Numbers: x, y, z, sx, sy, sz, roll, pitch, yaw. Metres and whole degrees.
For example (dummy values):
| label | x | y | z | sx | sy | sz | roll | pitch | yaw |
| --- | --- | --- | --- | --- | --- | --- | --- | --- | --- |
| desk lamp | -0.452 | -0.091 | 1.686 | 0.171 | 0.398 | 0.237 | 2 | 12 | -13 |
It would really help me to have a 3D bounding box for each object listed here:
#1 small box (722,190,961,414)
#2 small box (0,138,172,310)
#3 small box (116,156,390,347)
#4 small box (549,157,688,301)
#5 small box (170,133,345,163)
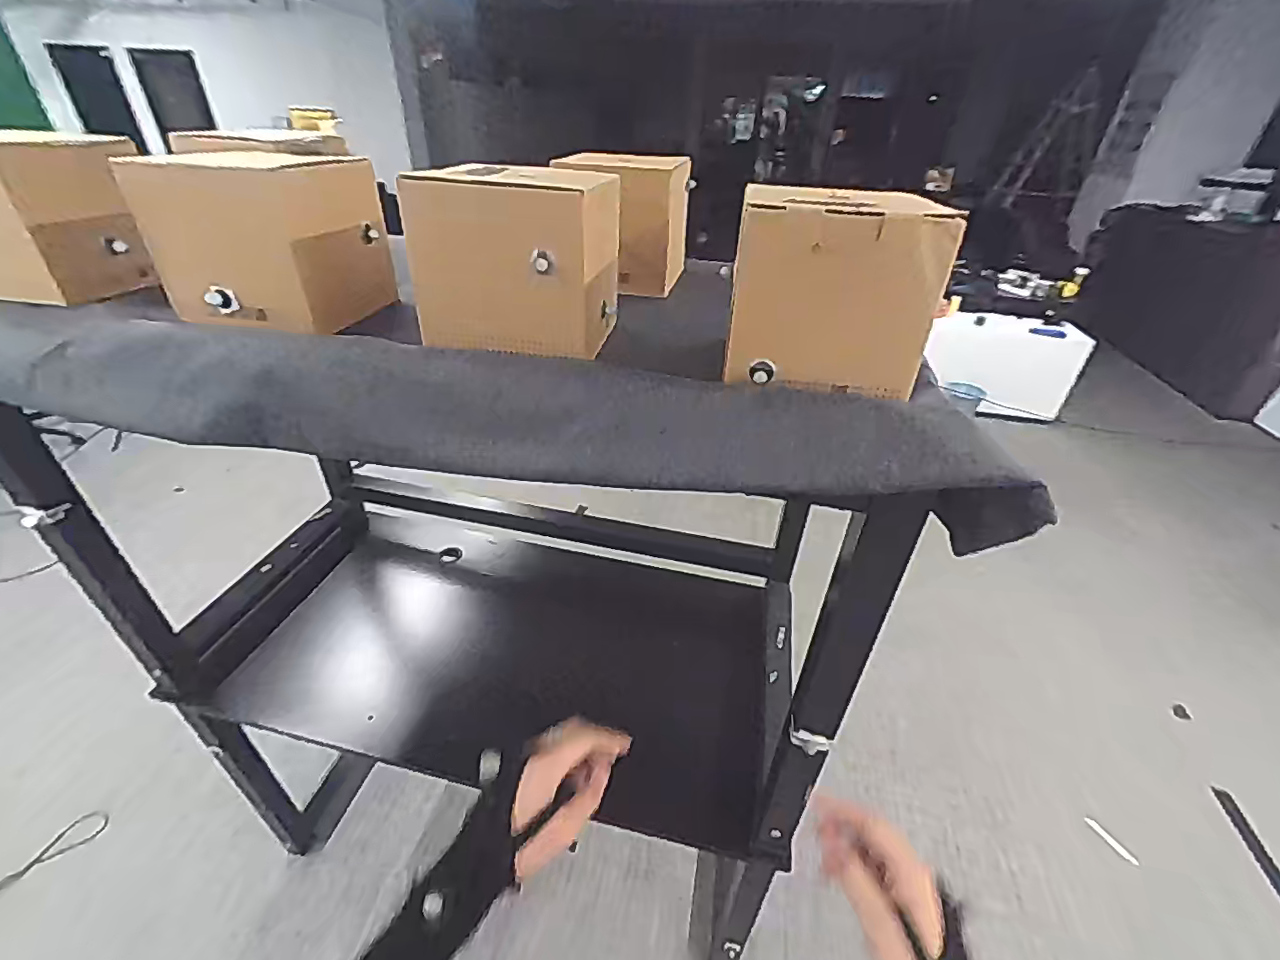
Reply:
| label | x | y | z | sx | sy | sz | roll | pitch | yaw |
| --- | --- | --- | --- | --- | --- | --- | --- | --- | --- |
| small box | 0.172 | -0.176 | 0.522 | 0.168 | 0.176 | 0.179 | 7 | 33 | 7 |
| small box | -0.735 | -0.316 | 0.664 | 0.179 | 0.176 | 0.168 | 7 | 34 | 5 |
| small box | -0.410 | -0.265 | 0.617 | 0.168 | 0.176 | 0.179 | 6 | 33 | 6 |
| small box | -0.025 | -0.377 | 0.808 | 0.168 | 0.176 | 0.179 | 8 | 35 | 8 |
| small box | -0.591 | -0.458 | 0.886 | 0.179 | 0.176 | 0.168 | 8 | 35 | 7 |
